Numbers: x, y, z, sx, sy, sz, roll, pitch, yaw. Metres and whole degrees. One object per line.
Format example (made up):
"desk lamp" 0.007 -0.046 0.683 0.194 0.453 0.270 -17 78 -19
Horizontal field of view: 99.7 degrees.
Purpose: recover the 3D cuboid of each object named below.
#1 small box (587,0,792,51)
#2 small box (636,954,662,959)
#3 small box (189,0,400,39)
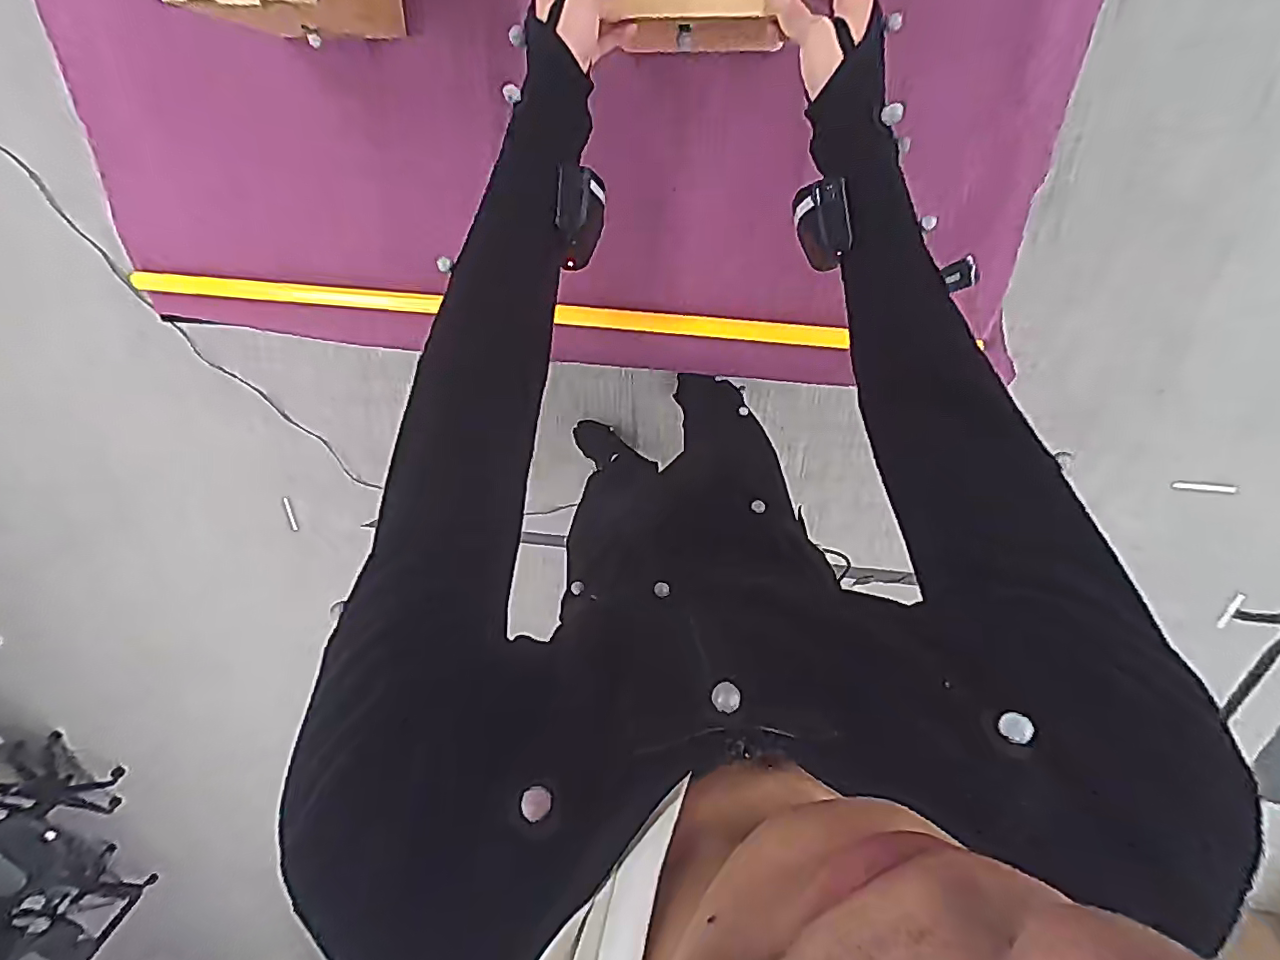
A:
"small box" 0.054 -0.508 0.490 0.179 0.176 0.168 6 121 8
"small box" 0.043 1.890 1.987 0.168 0.176 0.179 19 121 -2
"small box" -0.364 -0.563 0.529 0.168 0.176 0.179 6 121 6
